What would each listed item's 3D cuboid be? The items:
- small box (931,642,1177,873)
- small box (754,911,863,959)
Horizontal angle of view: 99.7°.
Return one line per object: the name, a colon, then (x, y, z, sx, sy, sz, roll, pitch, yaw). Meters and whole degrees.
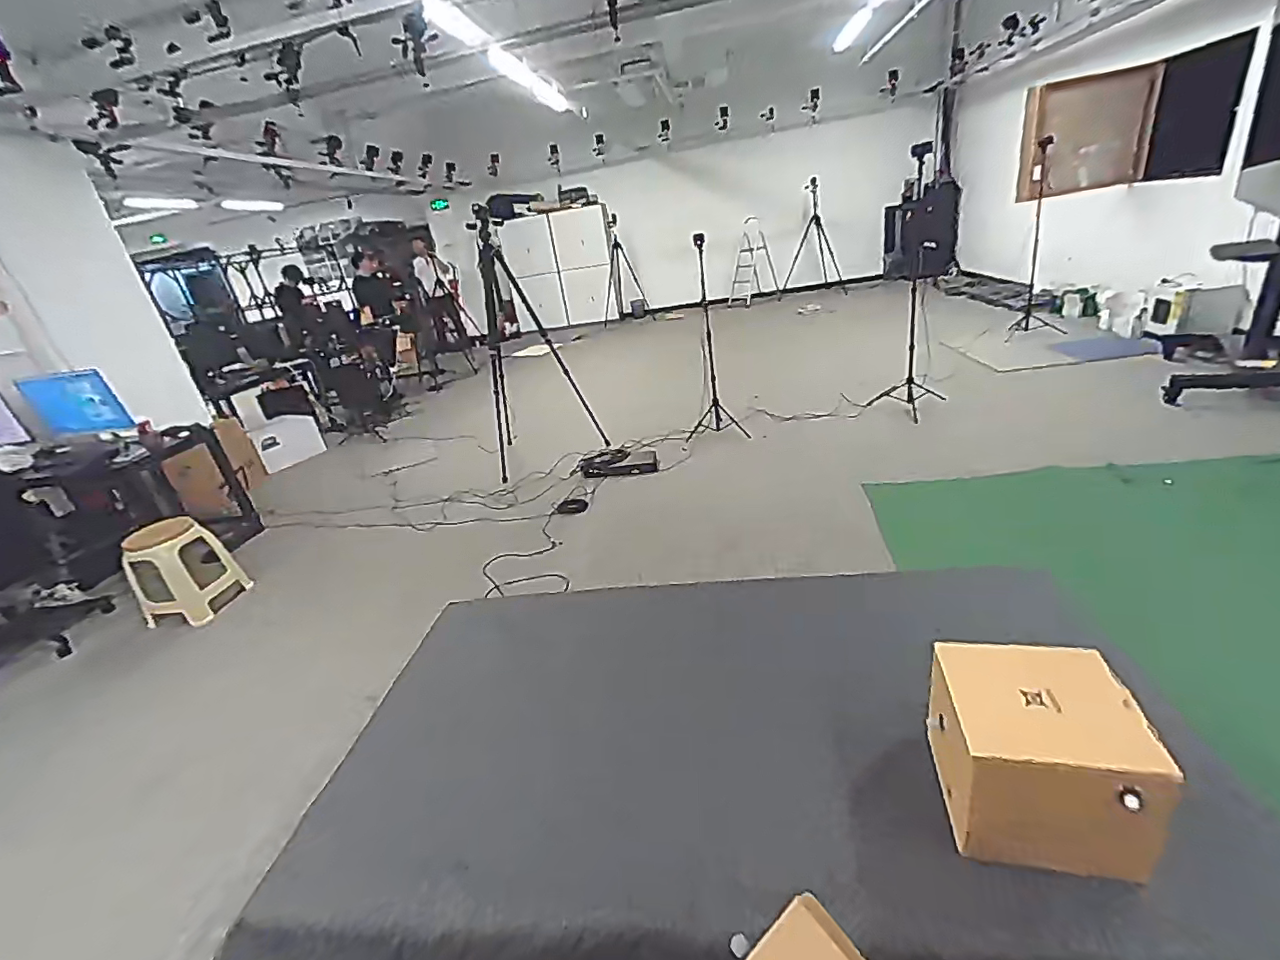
small box: (0.446, 0.310, 0.621, 0.179, 0.176, 0.168, -2, 25, 16)
small box: (0.125, 0.427, 0.356, 0.168, 0.176, 0.179, -41, 51, -13)
